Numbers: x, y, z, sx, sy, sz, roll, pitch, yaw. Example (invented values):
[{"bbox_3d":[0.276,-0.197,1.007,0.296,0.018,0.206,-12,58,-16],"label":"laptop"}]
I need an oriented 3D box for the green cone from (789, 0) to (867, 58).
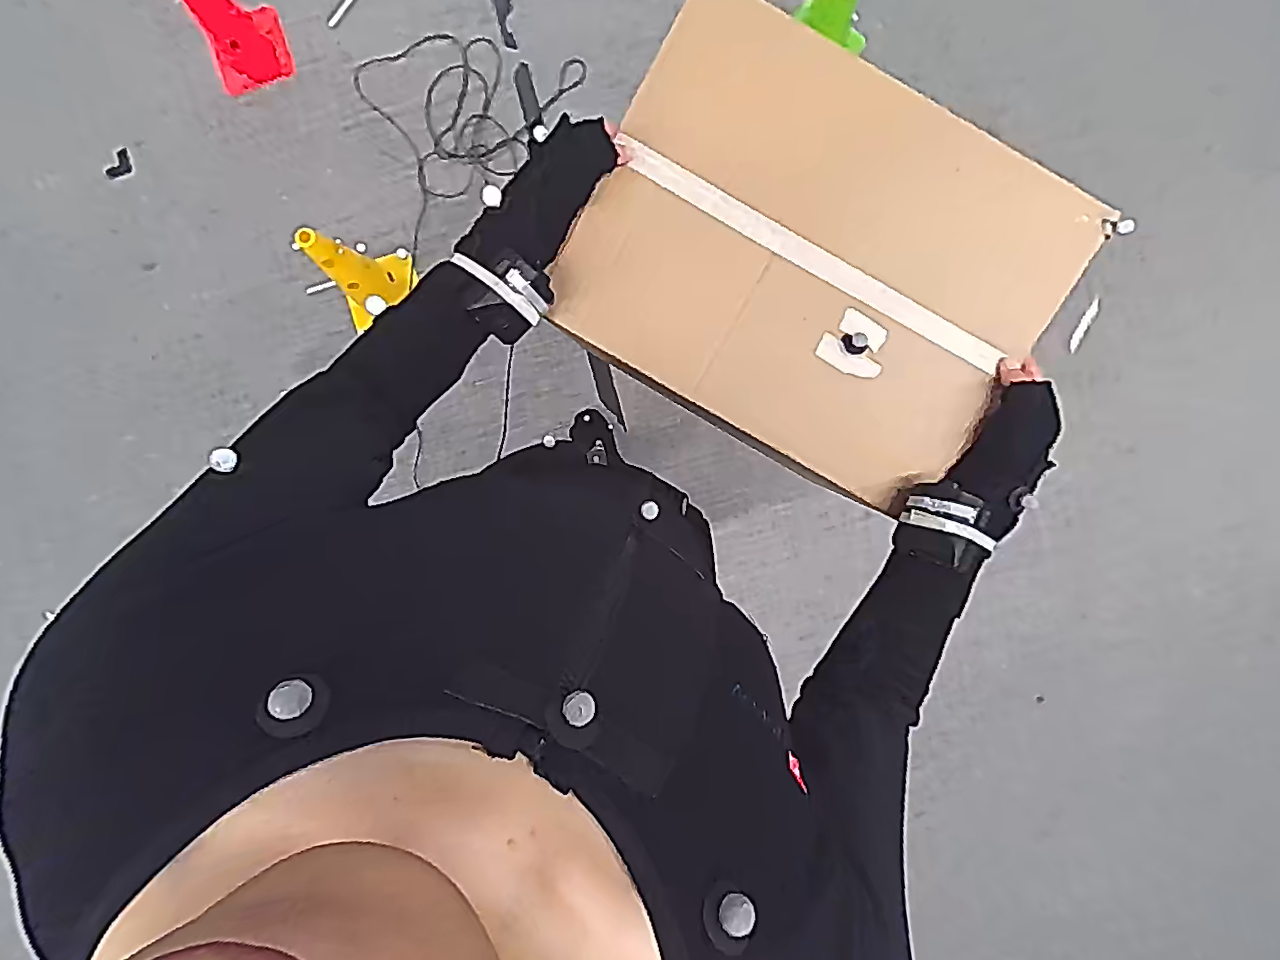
[{"bbox_3d":[0.491,-1.184,1.286,0.200,0.368,0.202,37,89,-1],"label":"green cone"}]

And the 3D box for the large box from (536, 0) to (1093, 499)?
[{"bbox_3d":[0.150,-0.222,0.624,0.408,0.320,0.320,29,98,-2],"label":"large box"}]

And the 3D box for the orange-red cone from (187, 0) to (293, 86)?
[{"bbox_3d":[-1.047,-1.172,1.283,0.198,0.360,0.199,-18,92,1],"label":"orange-red cone"}]
